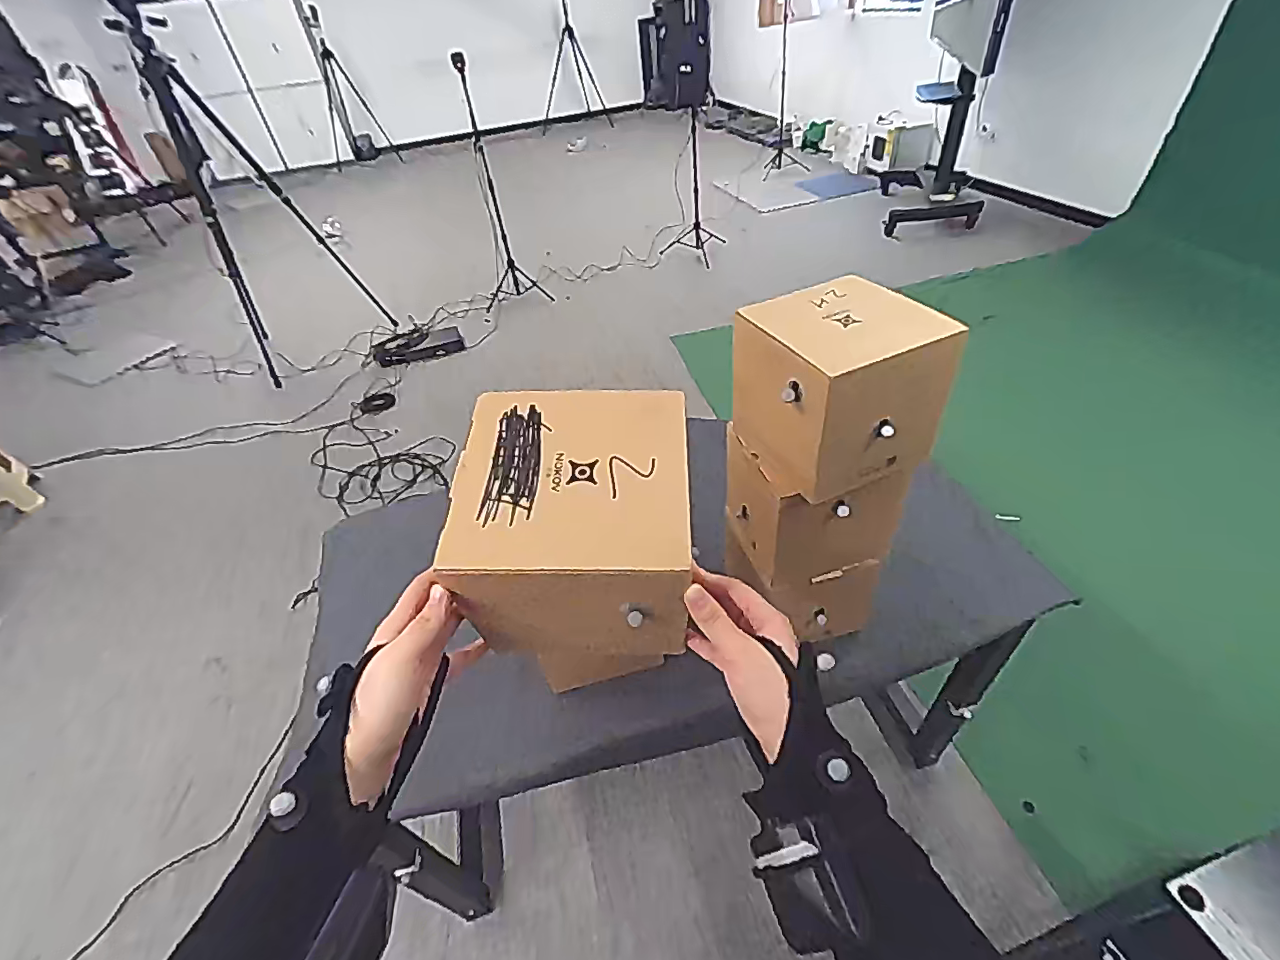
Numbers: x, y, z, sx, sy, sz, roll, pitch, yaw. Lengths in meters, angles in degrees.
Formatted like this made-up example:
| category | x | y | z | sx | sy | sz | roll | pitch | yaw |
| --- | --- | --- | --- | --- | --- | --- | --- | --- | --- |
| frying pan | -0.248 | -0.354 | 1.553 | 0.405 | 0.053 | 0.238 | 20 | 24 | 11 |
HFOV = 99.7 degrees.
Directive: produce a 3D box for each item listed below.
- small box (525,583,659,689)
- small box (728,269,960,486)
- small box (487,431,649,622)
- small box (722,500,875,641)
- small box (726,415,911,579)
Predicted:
| category | x | y | z | sx | sy | sz | roll | pitch | yaw |
| --- | --- | --- | --- | --- | --- | --- | --- | --- | --- |
| small box | -0.074 | 0.189 | 0.829 | 0.179 | 0.176 | 0.168 | -15 | 41 | -6 |
| small box | 0.216 | -0.113 | 0.619 | 0.168 | 0.176 | 0.179 | -21 | 43 | -13 |
| small box | -0.093 | 0.066 | 0.722 | 0.168 | 0.176 | 0.179 | -16 | 41 | -9 |
| small box | 0.235 | 0.129 | 0.840 | 0.168 | 0.176 | 0.179 | -14 | 42 | -5 |
| small box | 0.225 | 0.005 | 0.734 | 0.179 | 0.176 | 0.168 | -16 | 42 | -6 |
